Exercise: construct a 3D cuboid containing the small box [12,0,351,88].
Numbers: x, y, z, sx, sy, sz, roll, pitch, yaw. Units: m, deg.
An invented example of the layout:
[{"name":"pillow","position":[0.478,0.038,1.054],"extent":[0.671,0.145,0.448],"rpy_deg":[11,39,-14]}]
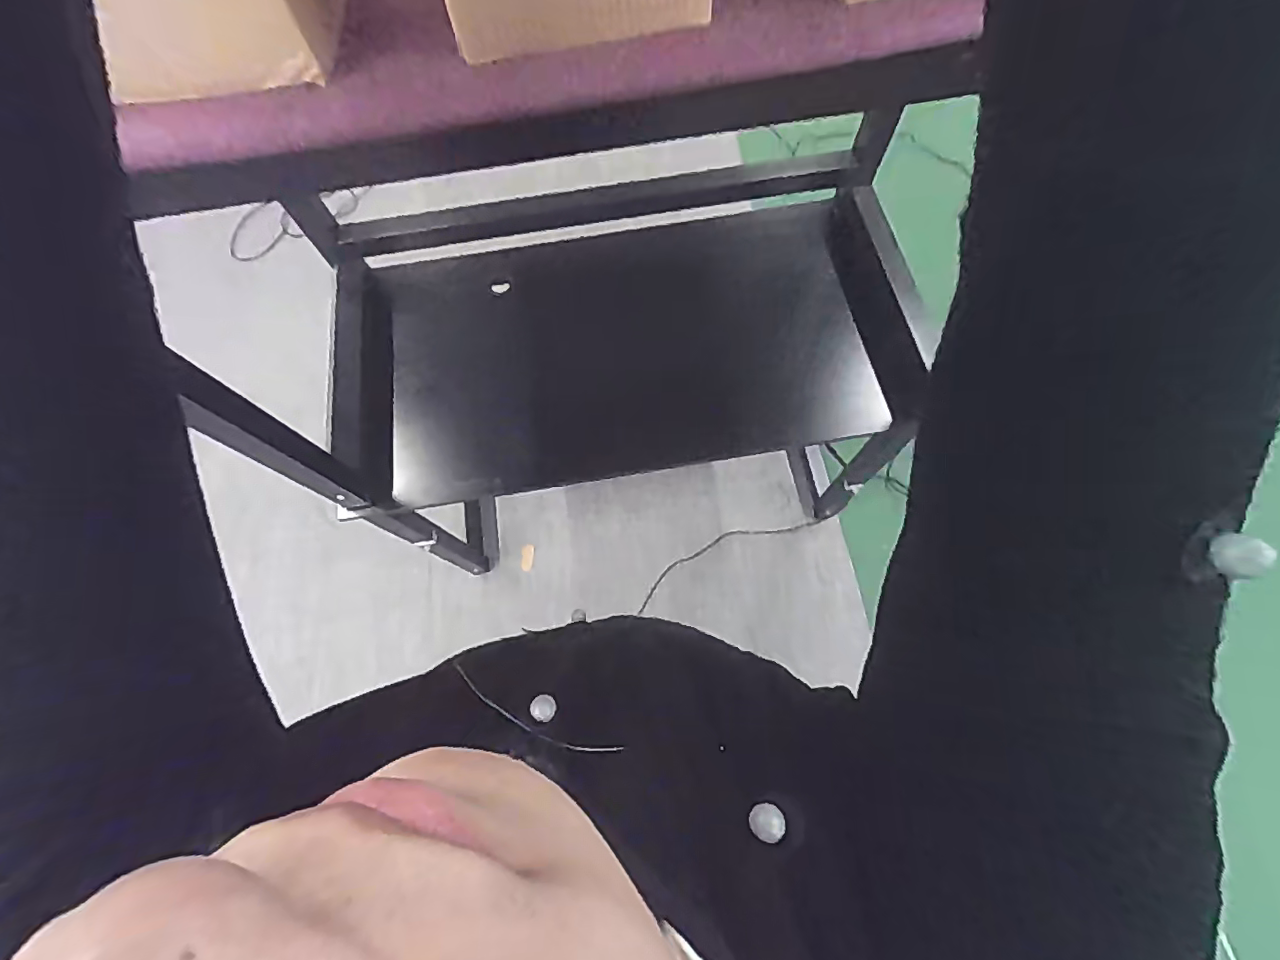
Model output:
[{"name":"small box","position":[-0.305,-0.376,0.329],"extent":[0.179,0.176,0.168],"rpy_deg":[-5,69,0]}]
